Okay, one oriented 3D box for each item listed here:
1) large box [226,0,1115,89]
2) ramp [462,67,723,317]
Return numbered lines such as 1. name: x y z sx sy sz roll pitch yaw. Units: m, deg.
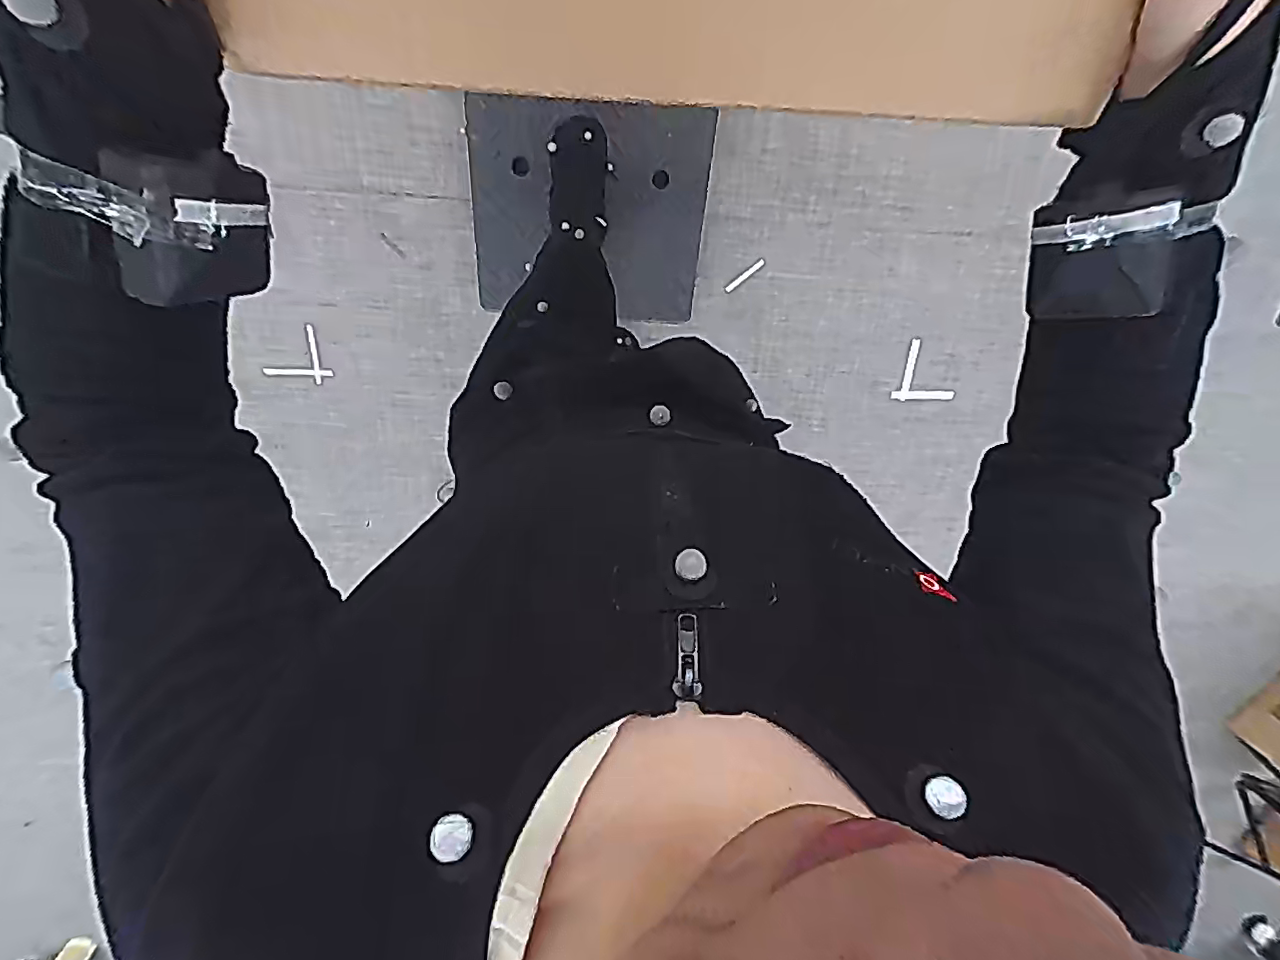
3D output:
1. large box: 0.014 -0.404 0.274 0.408 0.320 0.320 -1 129 -7
2. ramp: -0.079 -0.806 0.992 0.509 0.206 0.991 0 115 -6
